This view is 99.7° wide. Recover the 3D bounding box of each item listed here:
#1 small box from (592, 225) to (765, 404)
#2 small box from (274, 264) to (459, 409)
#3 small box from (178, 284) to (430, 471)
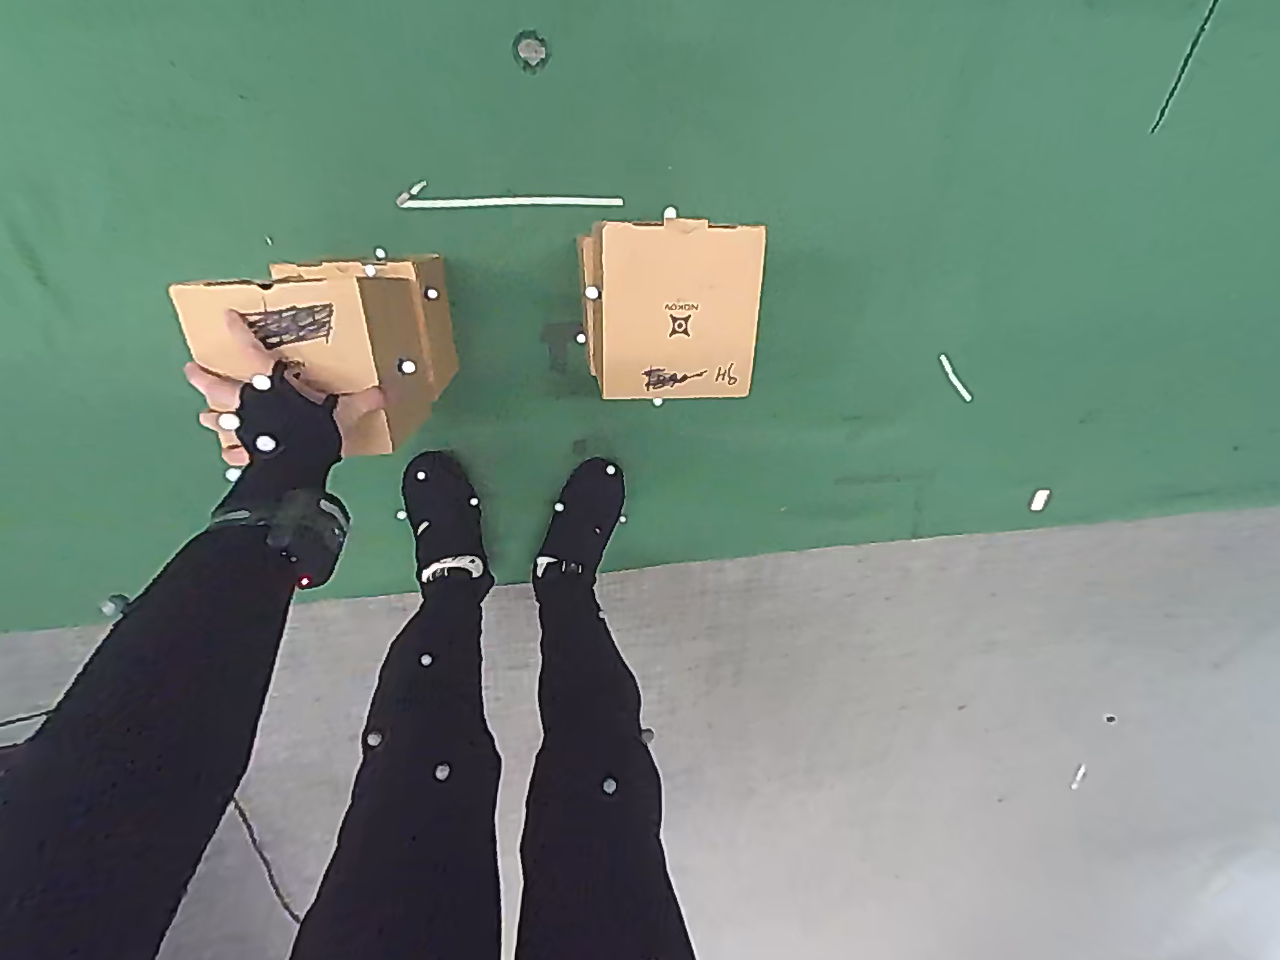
[{"bbox_3d":[0.031,-0.194,0.629,0.168,0.176,0.179,-2,114,-8],"label":"small box"},{"bbox_3d":[-0.360,-0.202,0.752,0.168,0.176,0.179,-4,113,-6],"label":"small box"},{"bbox_3d":[-0.348,-0.121,0.602,0.168,0.176,0.179,-4,110,-5],"label":"small box"}]
